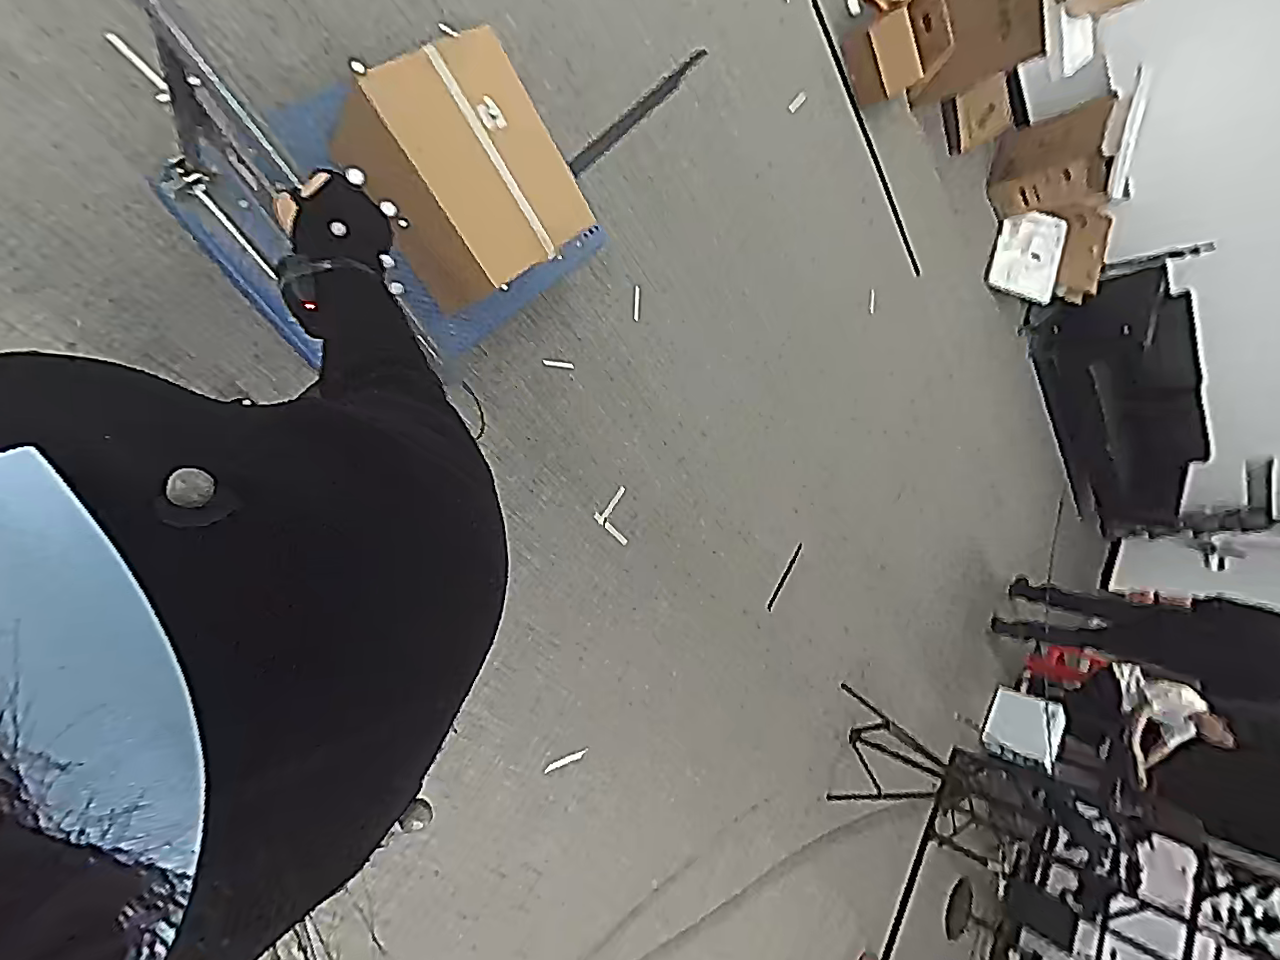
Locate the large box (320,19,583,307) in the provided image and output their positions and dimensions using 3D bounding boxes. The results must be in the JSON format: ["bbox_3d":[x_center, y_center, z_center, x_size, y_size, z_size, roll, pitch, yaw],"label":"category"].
[{"bbox_3d":[-0.409,-0.659,1.189,0.320,0.320,0.408,-48,119,-27],"label":"large box"}]
